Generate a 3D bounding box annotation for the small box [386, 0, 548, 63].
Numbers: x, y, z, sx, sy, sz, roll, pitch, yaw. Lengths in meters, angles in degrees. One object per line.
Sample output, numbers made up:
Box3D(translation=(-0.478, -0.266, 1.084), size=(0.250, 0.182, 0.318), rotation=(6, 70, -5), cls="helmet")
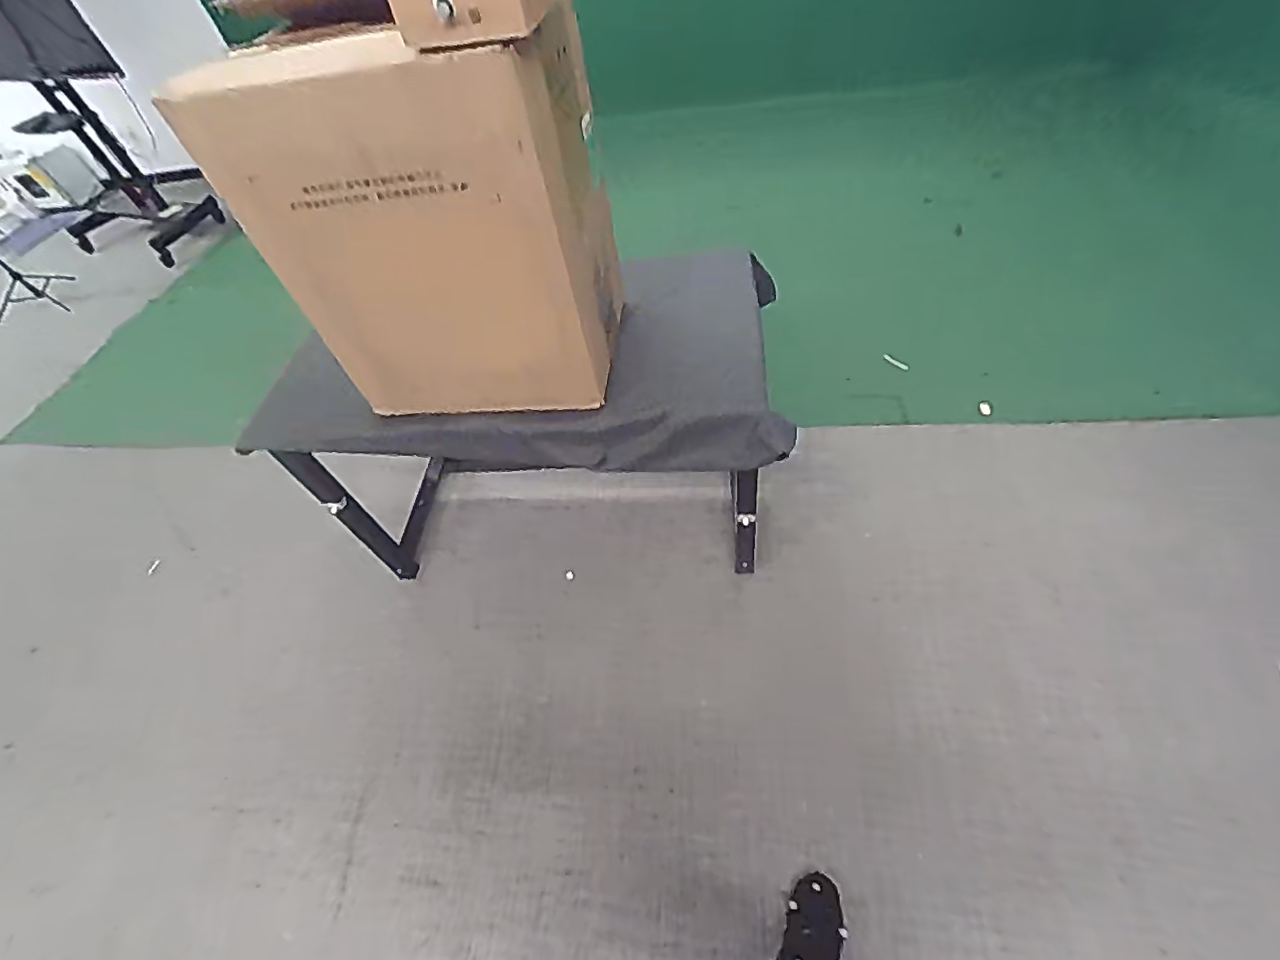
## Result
Box3D(translation=(-0.223, -0.647, 0.669), size=(0.168, 0.176, 0.179), rotation=(-1, 52, 9), cls="small box")
